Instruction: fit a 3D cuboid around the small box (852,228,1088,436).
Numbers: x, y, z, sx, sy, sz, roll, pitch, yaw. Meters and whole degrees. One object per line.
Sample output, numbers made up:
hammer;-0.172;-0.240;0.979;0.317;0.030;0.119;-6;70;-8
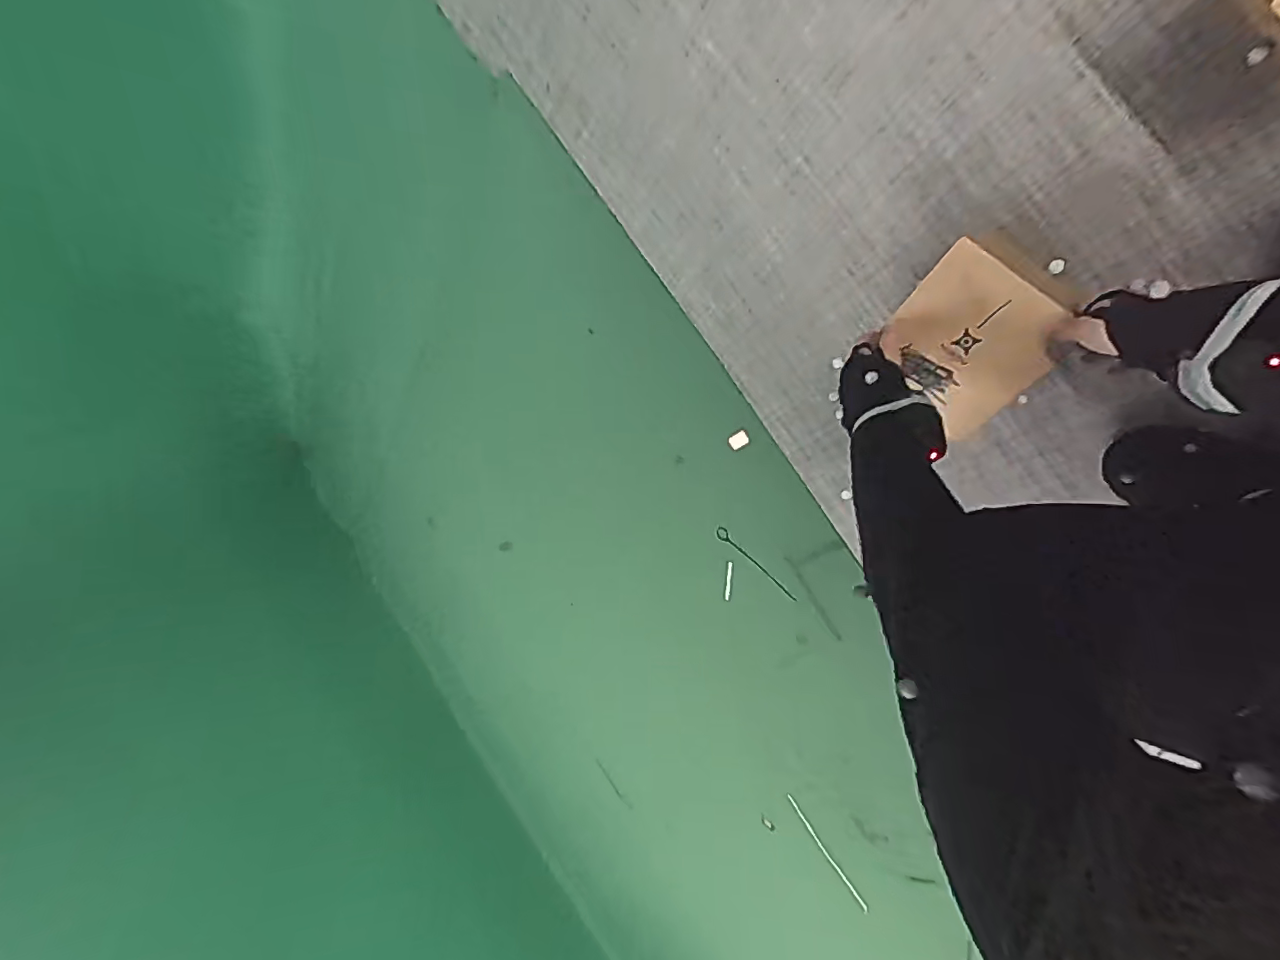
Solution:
small box;0.411;-0.187;0.674;0.168;0.176;0.179;48;135;14
